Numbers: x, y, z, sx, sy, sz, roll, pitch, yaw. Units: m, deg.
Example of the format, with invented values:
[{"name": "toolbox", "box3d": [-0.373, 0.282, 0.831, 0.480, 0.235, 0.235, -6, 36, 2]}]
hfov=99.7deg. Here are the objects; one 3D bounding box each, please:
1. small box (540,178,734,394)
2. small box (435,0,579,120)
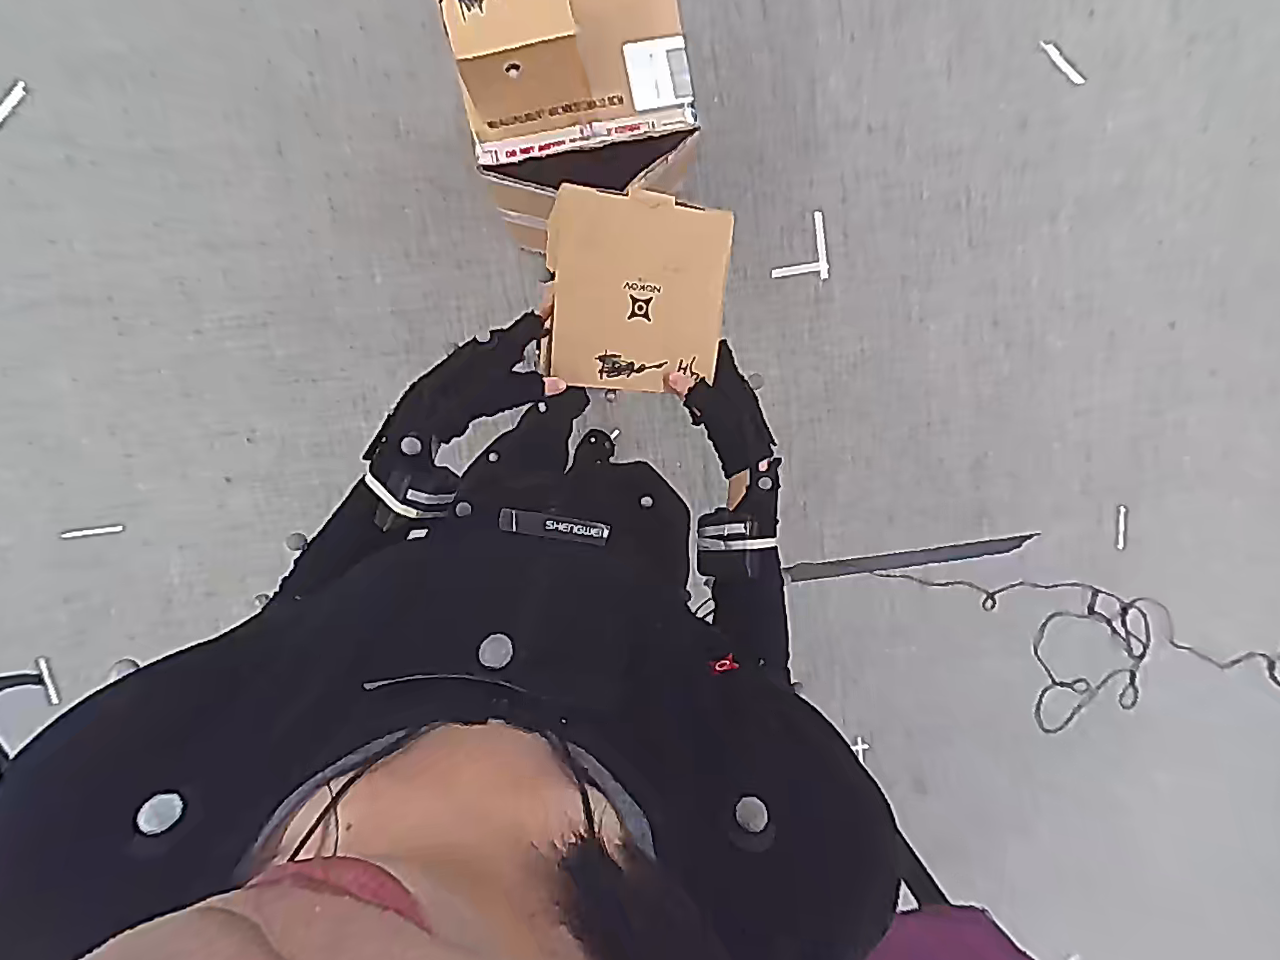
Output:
[{"name": "small box", "box3d": [-0.017, -0.195, 0.583, 0.168, 0.176, 0.179, 3, 105, -15]}, {"name": "small box", "box3d": [-0.197, -0.678, 0.809, 0.179, 0.176, 0.168, -14, 98, -2]}]
